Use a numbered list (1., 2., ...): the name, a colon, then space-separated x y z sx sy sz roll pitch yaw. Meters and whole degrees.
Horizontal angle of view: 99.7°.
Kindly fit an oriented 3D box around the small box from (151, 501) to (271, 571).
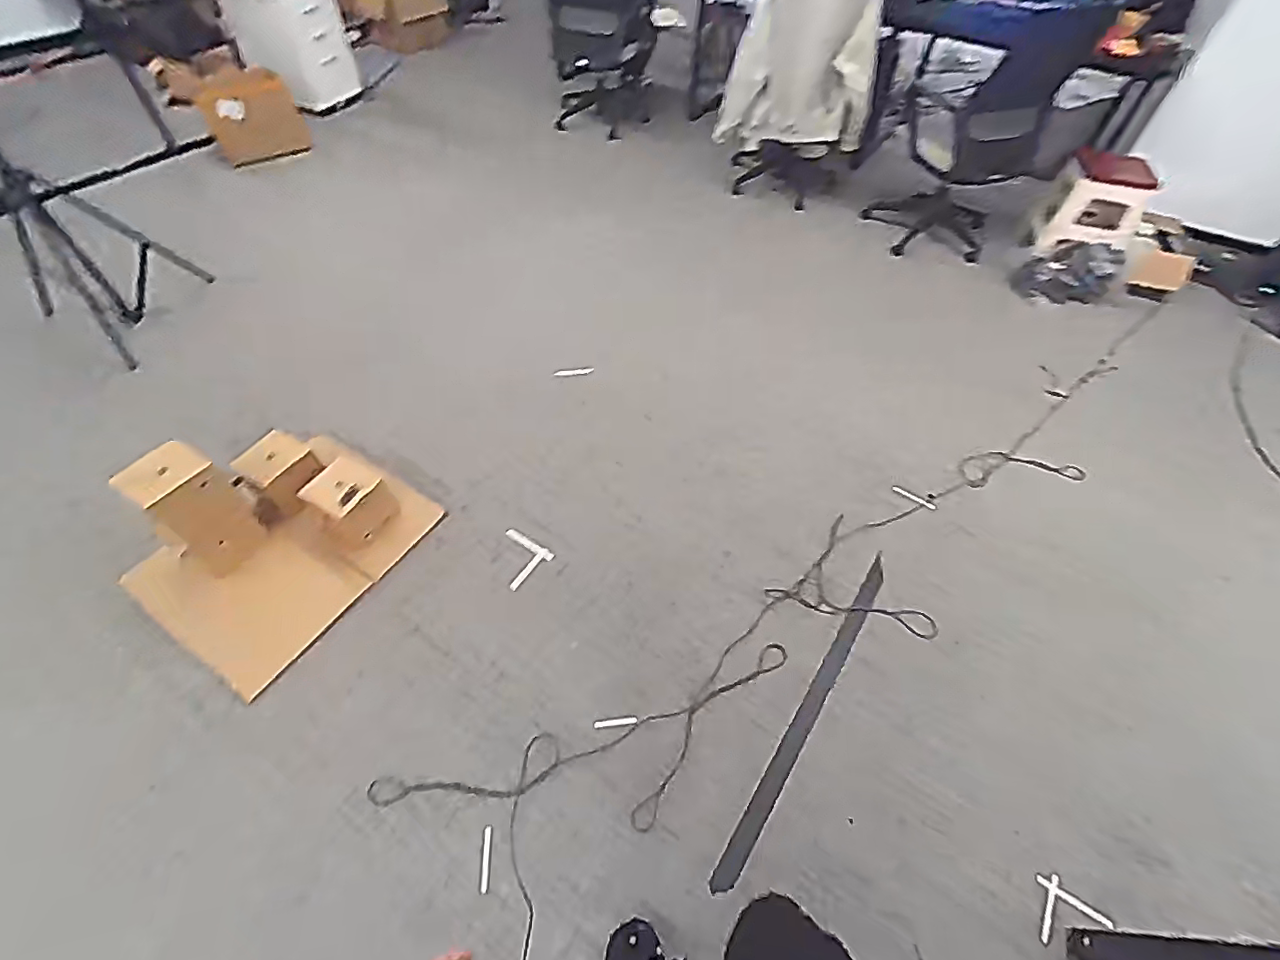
1. small box: -1.222 0.132 1.557 0.168 0.176 0.179 25 57 15

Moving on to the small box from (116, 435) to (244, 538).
1. small box: -1.204 0.018 1.436 0.168 0.176 0.179 27 57 18

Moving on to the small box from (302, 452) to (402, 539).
1. small box: -0.858 0.053 1.631 0.179 0.176 0.168 25 57 16

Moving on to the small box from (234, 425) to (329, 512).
1. small box: -1.098 -0.033 1.689 0.168 0.176 0.179 24 57 16
